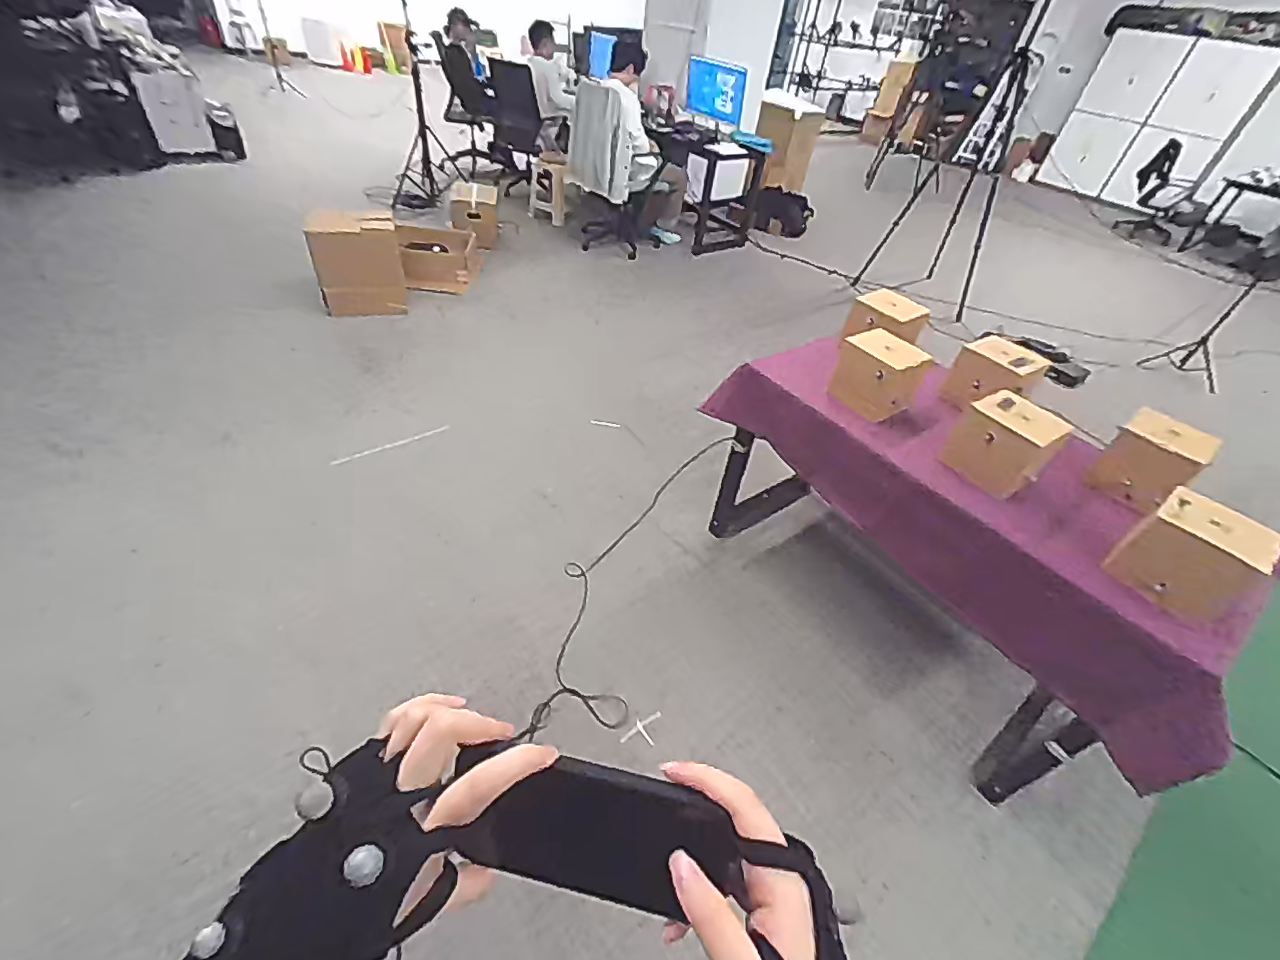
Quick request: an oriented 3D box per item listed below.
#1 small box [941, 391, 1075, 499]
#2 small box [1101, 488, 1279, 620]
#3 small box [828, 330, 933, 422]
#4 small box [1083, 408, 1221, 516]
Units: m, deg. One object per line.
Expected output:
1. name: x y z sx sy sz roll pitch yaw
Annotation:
1. small box: 0.871 -0.084 1.298 0.168 0.176 0.179 -20 50 -28
2. small box: 1.085 0.151 1.072 0.168 0.176 0.179 -23 51 -31
3. small box: 0.651 -0.286 1.486 0.168 0.176 0.179 -21 51 -29
4. small box: 1.235 -0.045 1.314 0.179 0.176 0.168 -25 51 -31
